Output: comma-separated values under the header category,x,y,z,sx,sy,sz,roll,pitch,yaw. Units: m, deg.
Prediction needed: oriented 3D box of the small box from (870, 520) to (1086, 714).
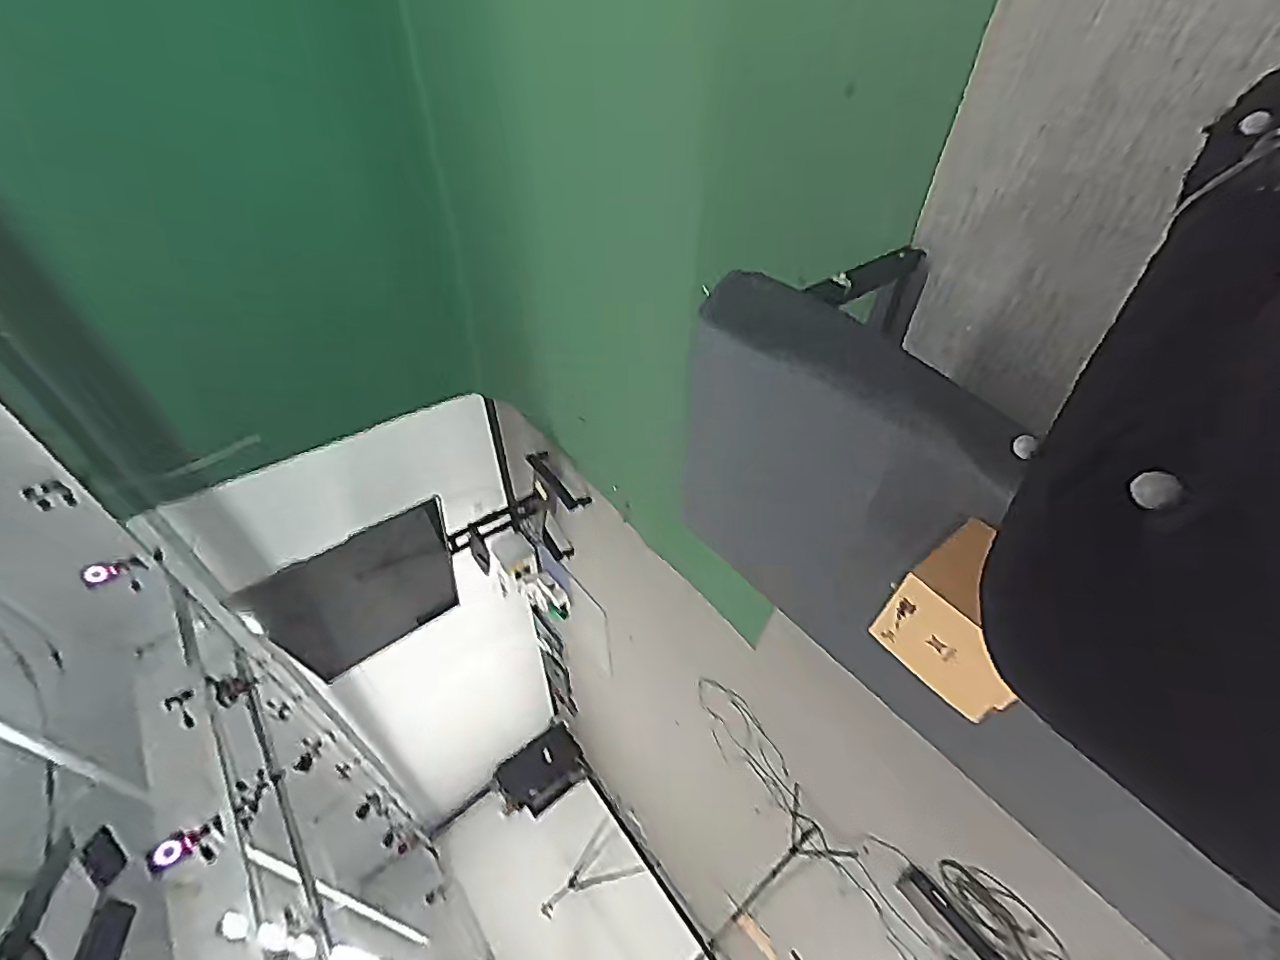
category,x,y,z,sx,sy,sz,roll,pitch,yaw
small box,0.476,0.189,0.773,0.179,0.176,0.168,44,149,32
